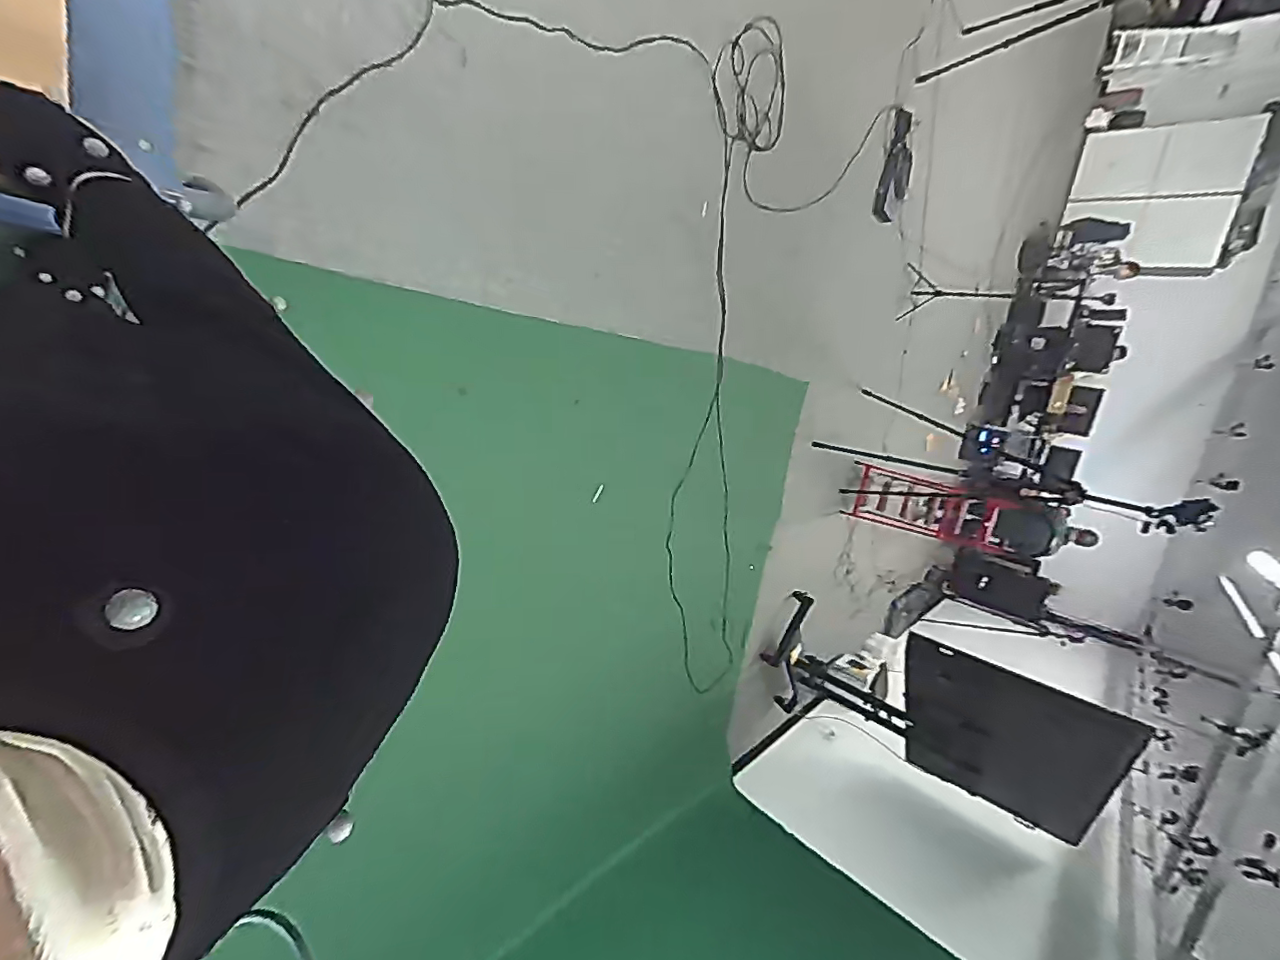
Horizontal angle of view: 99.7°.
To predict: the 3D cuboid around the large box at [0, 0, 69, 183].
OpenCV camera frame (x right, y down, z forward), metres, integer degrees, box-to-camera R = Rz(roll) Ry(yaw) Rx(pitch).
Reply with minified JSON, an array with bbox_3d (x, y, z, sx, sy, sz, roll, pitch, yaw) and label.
[{"bbox_3d":[-0.979,-0.662,0.696,0.320,0.320,0.408,-4,106,-48],"label":"large box"}]
